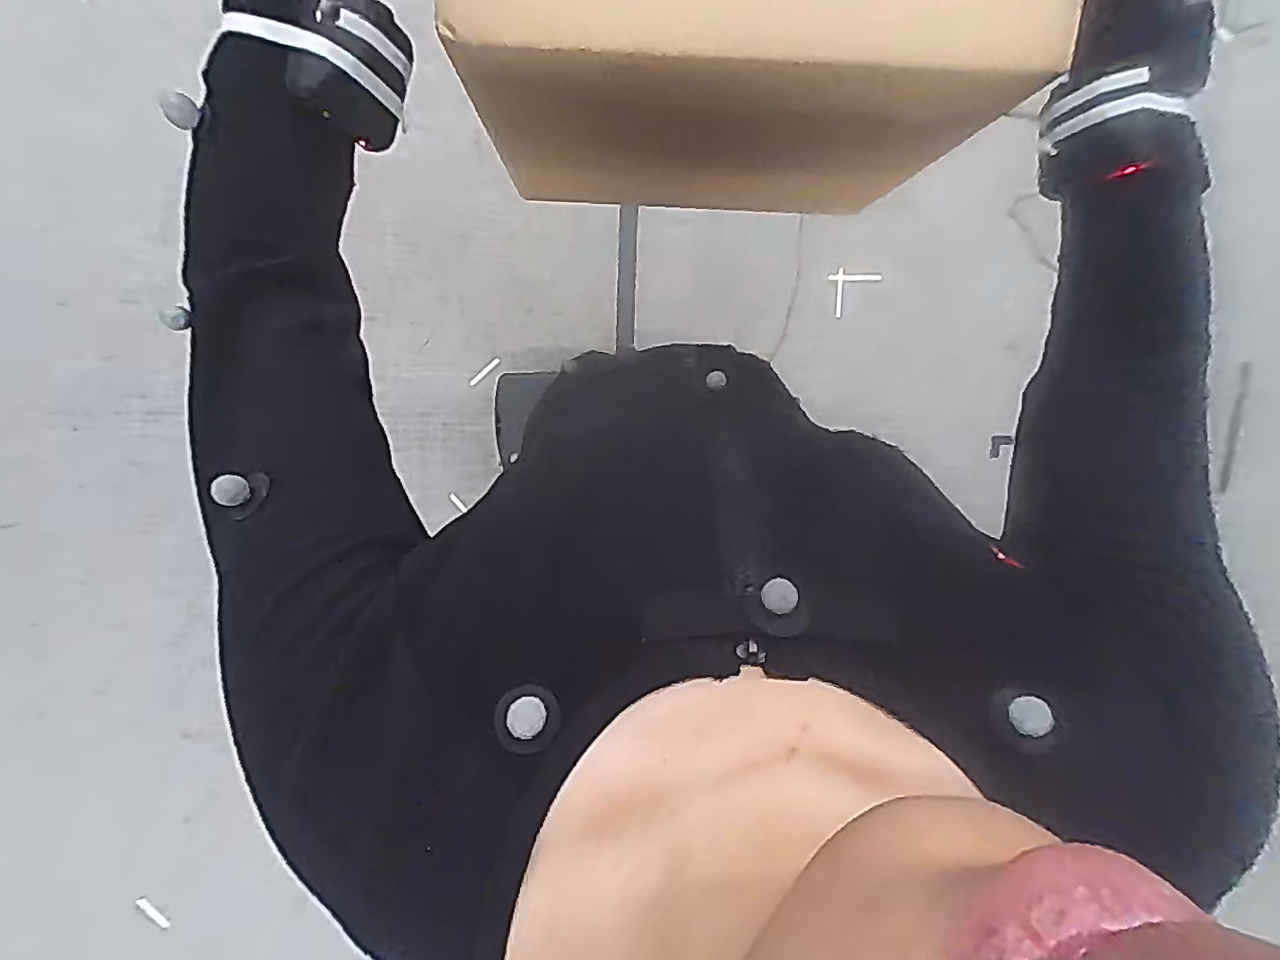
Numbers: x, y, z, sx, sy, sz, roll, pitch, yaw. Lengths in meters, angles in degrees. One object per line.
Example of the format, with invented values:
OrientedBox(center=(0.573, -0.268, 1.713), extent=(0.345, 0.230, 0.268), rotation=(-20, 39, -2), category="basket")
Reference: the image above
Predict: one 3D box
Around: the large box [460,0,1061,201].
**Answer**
OrientedBox(center=(0.072, -0.457, 0.472), extent=(0.408, 0.320, 0.320), rotation=(0, 101, -4), category="large box")
